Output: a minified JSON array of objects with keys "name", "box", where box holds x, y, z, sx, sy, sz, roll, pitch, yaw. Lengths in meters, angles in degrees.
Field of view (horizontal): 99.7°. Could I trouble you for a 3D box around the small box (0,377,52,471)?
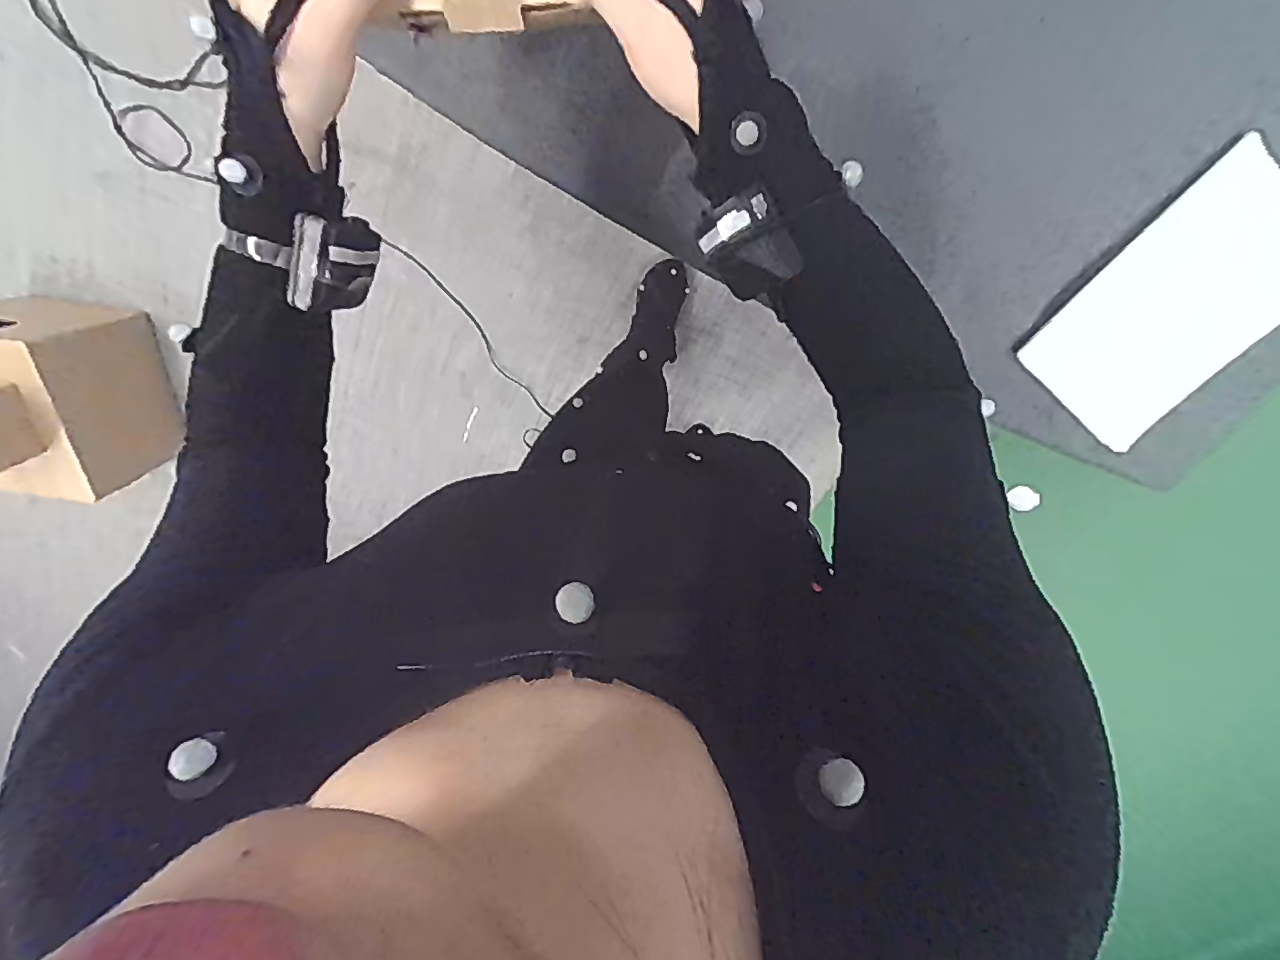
[{"name":"small box","box":[-1.441,-0.116,1.156,0.168,0.176,0.179,8,119,-2]}]
